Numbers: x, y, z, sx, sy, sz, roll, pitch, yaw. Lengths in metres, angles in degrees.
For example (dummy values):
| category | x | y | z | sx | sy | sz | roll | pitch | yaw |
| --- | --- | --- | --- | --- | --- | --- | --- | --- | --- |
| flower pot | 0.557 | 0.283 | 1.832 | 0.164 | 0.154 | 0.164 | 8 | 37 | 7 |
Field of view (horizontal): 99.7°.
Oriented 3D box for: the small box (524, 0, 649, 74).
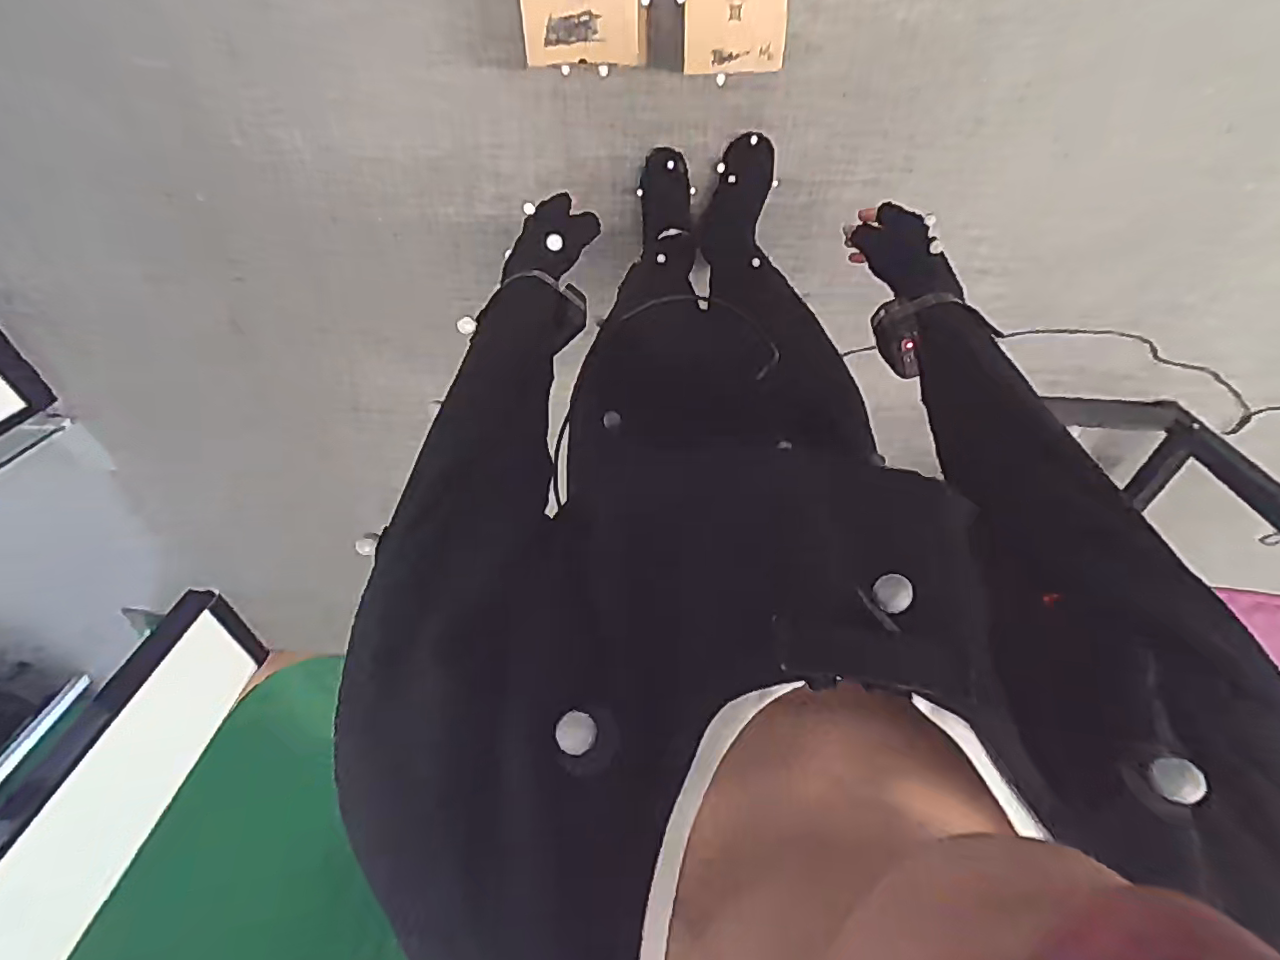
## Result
| category | x | y | z | sx | sy | sz | roll | pitch | yaw |
| --- | --- | --- | --- | --- | --- | --- | --- | --- | --- |
| small box | -0.073 | -0.714 | 0.796 | 0.168 | 0.176 | 0.179 | 2 | 129 | 4 |
